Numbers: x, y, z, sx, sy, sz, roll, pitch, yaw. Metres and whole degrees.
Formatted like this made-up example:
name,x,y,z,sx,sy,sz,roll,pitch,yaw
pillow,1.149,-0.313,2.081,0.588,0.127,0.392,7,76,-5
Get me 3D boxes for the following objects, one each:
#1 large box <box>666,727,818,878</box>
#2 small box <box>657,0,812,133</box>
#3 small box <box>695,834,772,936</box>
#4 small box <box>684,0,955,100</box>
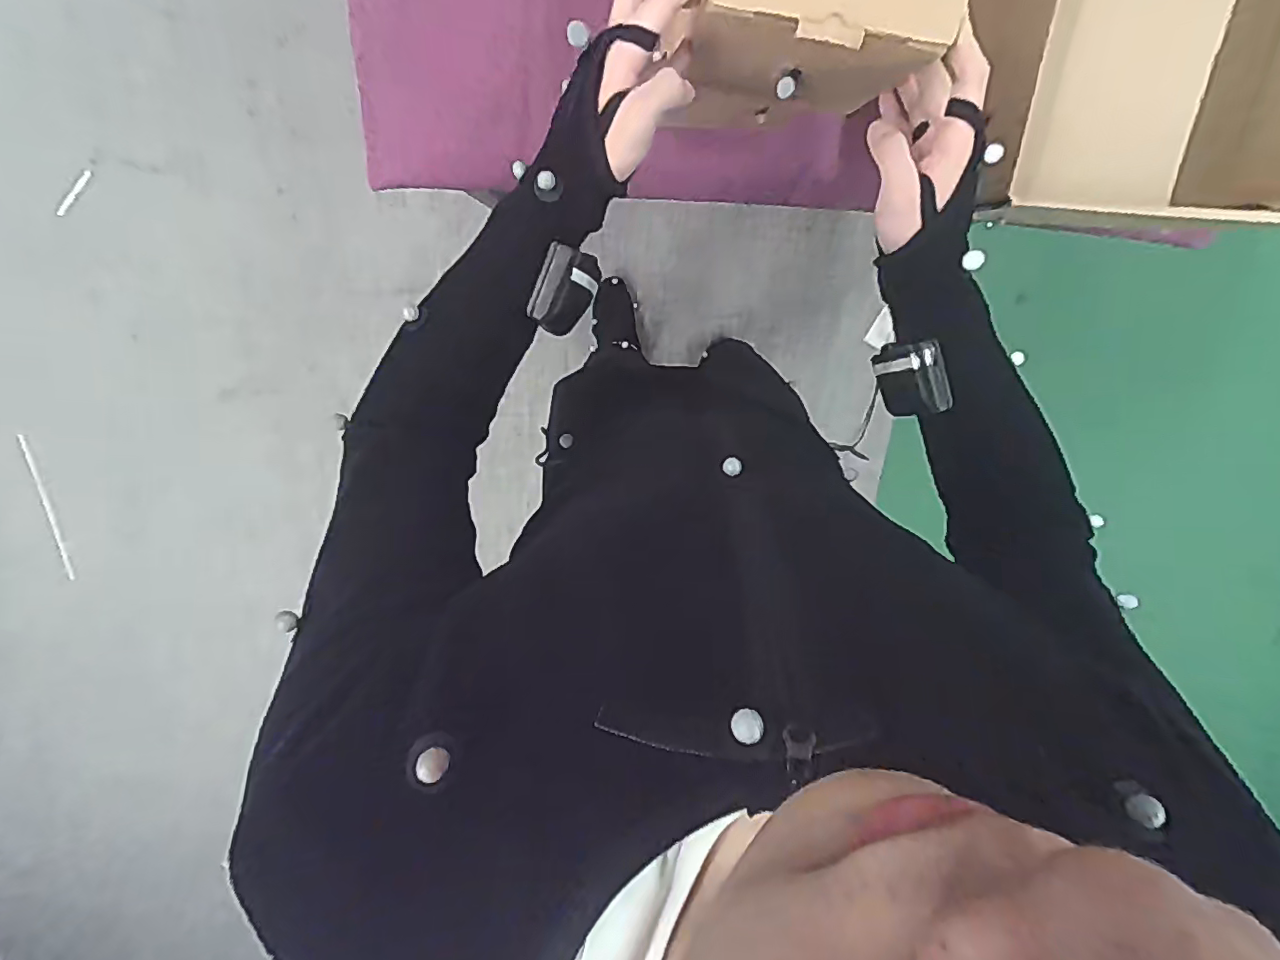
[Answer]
name,x,y,z,sx,sy,sz,roll,pitch,yaw
large box,0.351,1.183,1.943,0.408,0.320,0.320,-30,110,6
small box,0.111,-0.523,0.621,0.168,0.176,0.179,2,108,-5
small box,0.287,1.274,1.708,0.179,0.176,0.168,-29,108,7
small box,0.129,-0.404,0.392,0.168,0.176,0.179,6,113,-5
